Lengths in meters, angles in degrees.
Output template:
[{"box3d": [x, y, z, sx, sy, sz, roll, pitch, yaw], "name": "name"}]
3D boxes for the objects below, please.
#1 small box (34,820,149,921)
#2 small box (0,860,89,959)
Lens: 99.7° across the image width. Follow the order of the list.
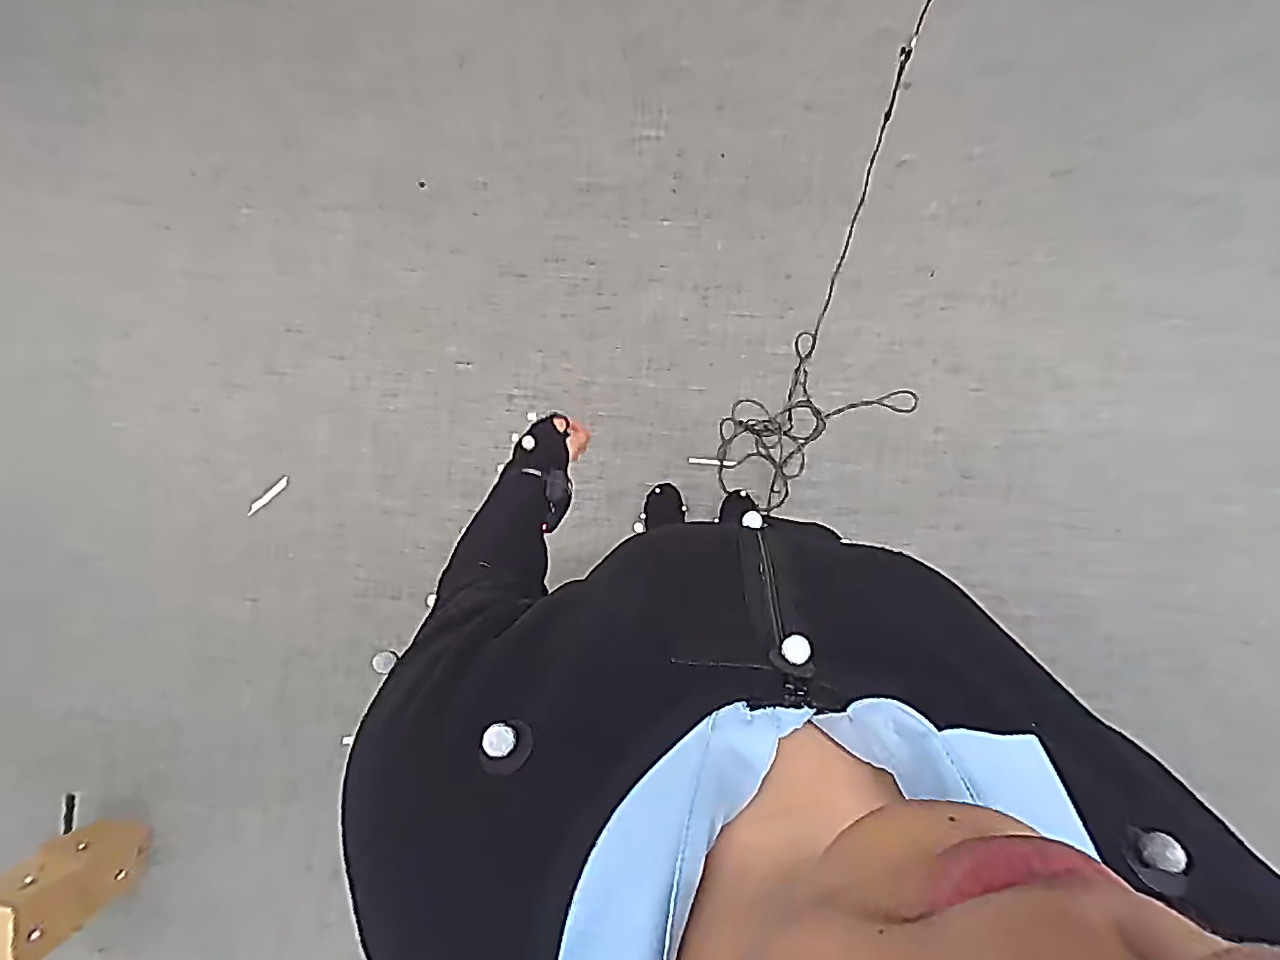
[{"box3d": [-1.562, 1.106, 1.541, 0.179, 0.176, 0.168, 7, 89, 5], "name": "small box"}, {"box3d": [-1.566, 1.108, 1.378, 0.168, 0.176, 0.179, -2, 89, 4], "name": "small box"}]
